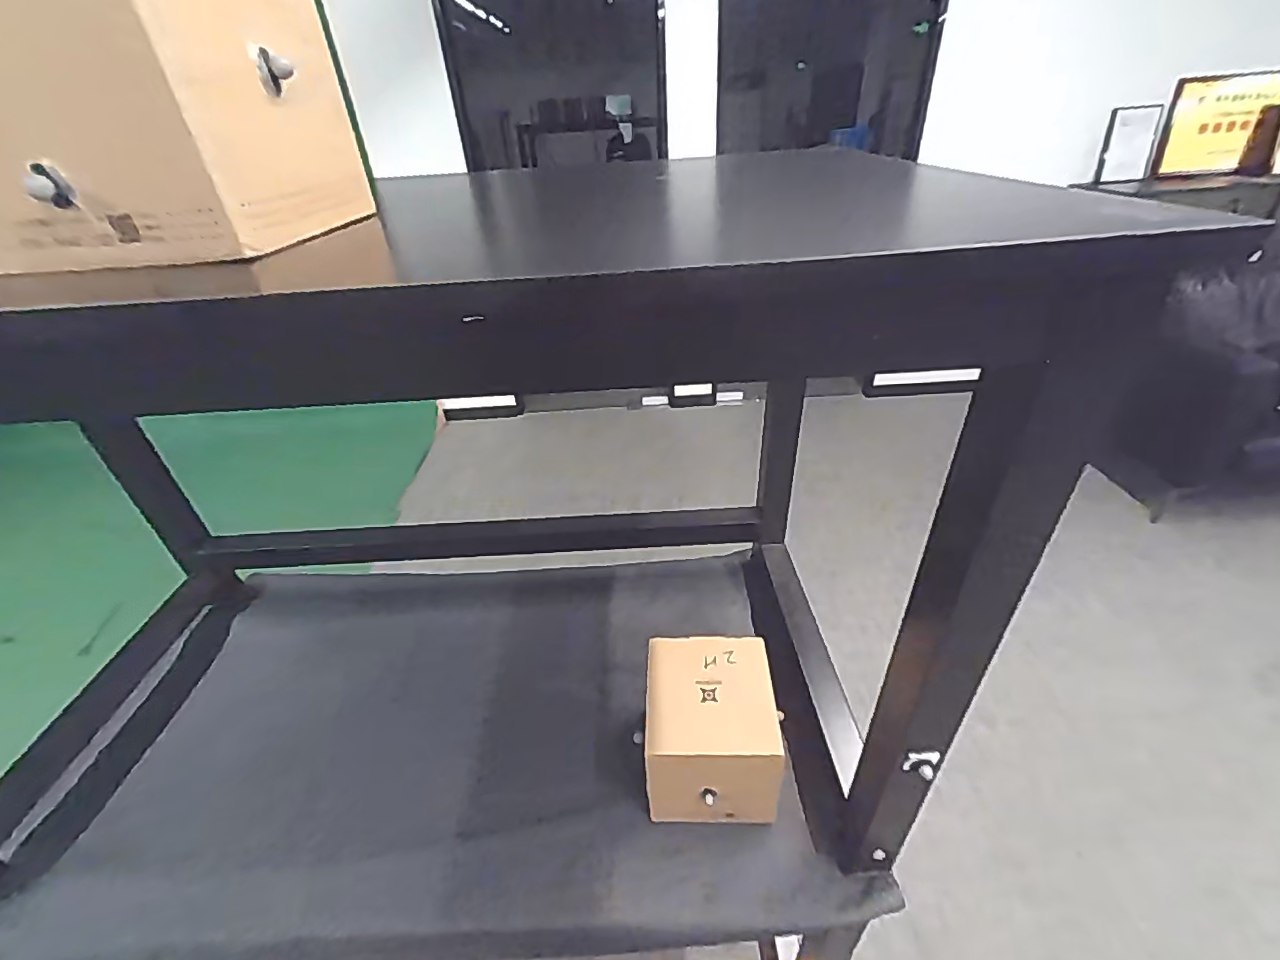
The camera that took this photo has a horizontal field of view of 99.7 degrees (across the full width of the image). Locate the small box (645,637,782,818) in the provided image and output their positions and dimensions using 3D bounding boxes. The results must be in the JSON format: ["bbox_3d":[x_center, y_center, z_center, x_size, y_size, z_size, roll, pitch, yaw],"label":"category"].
[{"bbox_3d":[0.097,0.342,0.751,0.168,0.176,0.179,-1,34,4],"label":"small box"}]
